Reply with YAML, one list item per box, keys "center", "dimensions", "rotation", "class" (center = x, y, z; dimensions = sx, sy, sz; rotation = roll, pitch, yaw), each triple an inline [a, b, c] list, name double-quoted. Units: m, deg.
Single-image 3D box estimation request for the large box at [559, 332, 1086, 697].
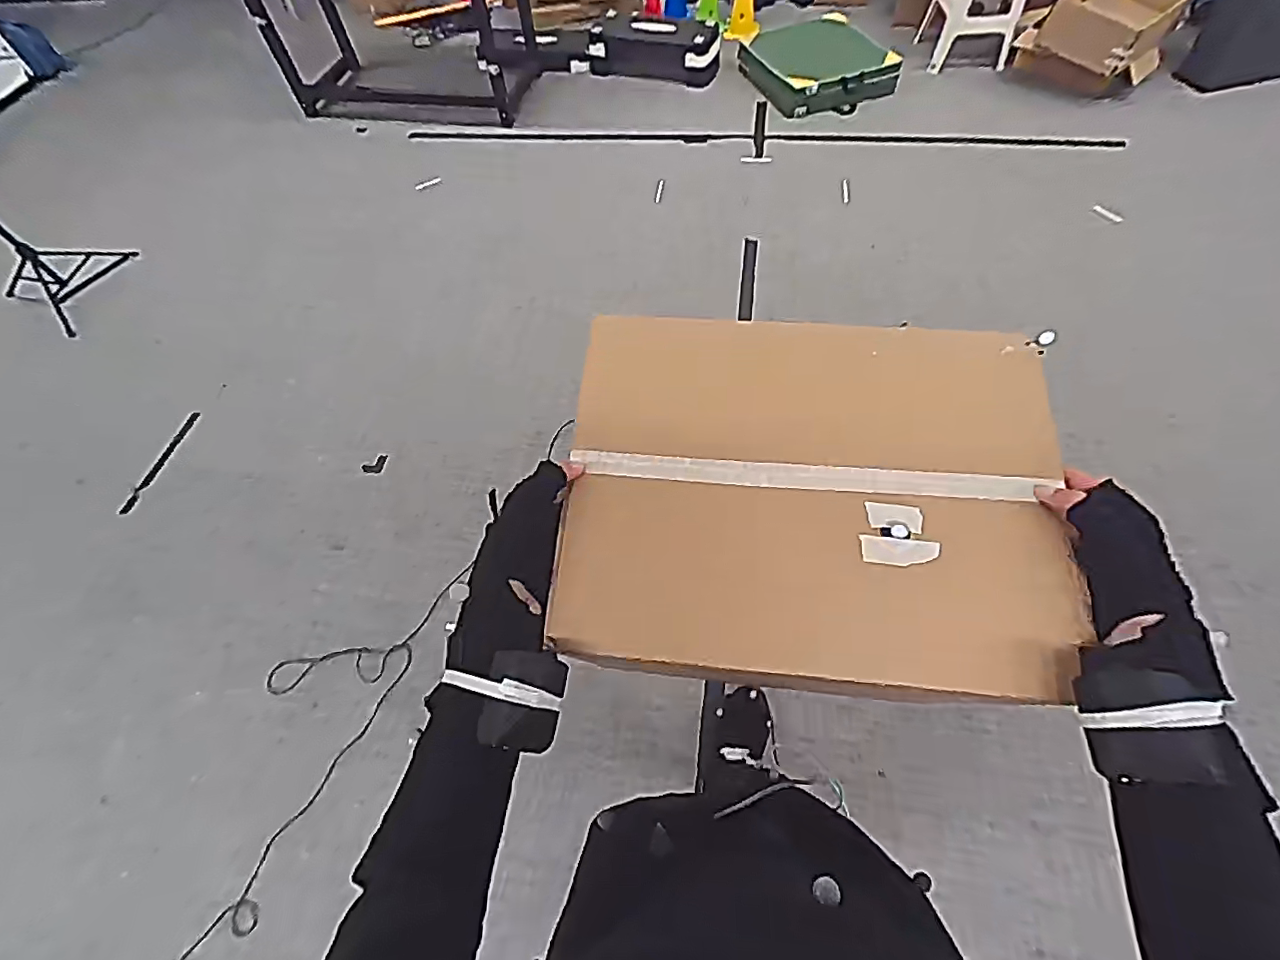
- center: [0.149, 0.061, 0.601]
  dimensions: [0.408, 0.320, 0.320]
  rotation: [4, 70, 5]
  class: "large box"
